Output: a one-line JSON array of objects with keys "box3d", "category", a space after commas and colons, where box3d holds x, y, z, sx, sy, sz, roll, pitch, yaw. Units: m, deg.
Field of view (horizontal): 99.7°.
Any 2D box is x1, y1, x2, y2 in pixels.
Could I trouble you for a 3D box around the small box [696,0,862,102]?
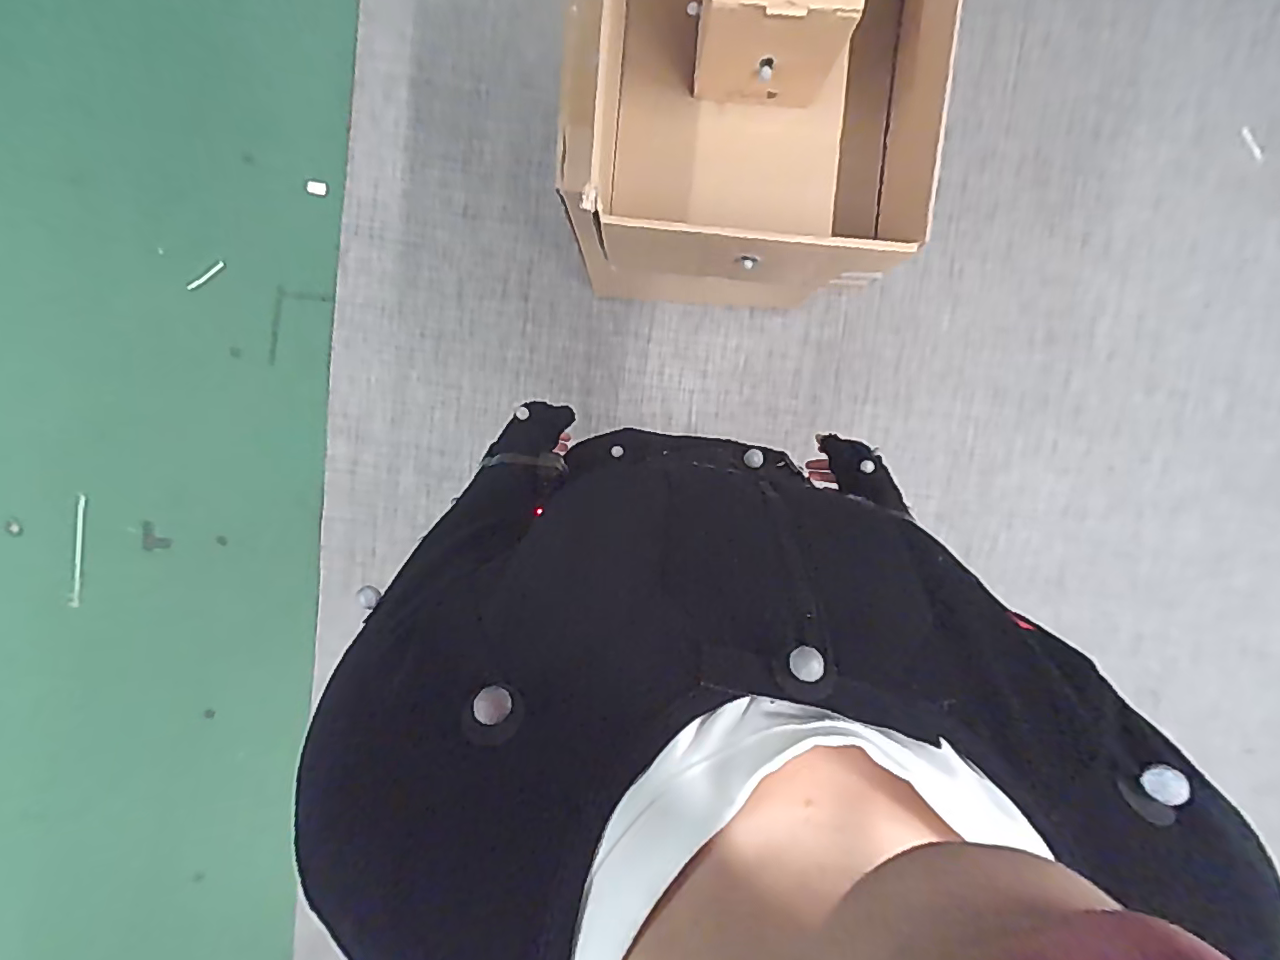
[{"box3d": [0.161, -0.591, 0.645, 0.168, 0.176, 0.179, 5, 95, -1], "category": "small box"}]
